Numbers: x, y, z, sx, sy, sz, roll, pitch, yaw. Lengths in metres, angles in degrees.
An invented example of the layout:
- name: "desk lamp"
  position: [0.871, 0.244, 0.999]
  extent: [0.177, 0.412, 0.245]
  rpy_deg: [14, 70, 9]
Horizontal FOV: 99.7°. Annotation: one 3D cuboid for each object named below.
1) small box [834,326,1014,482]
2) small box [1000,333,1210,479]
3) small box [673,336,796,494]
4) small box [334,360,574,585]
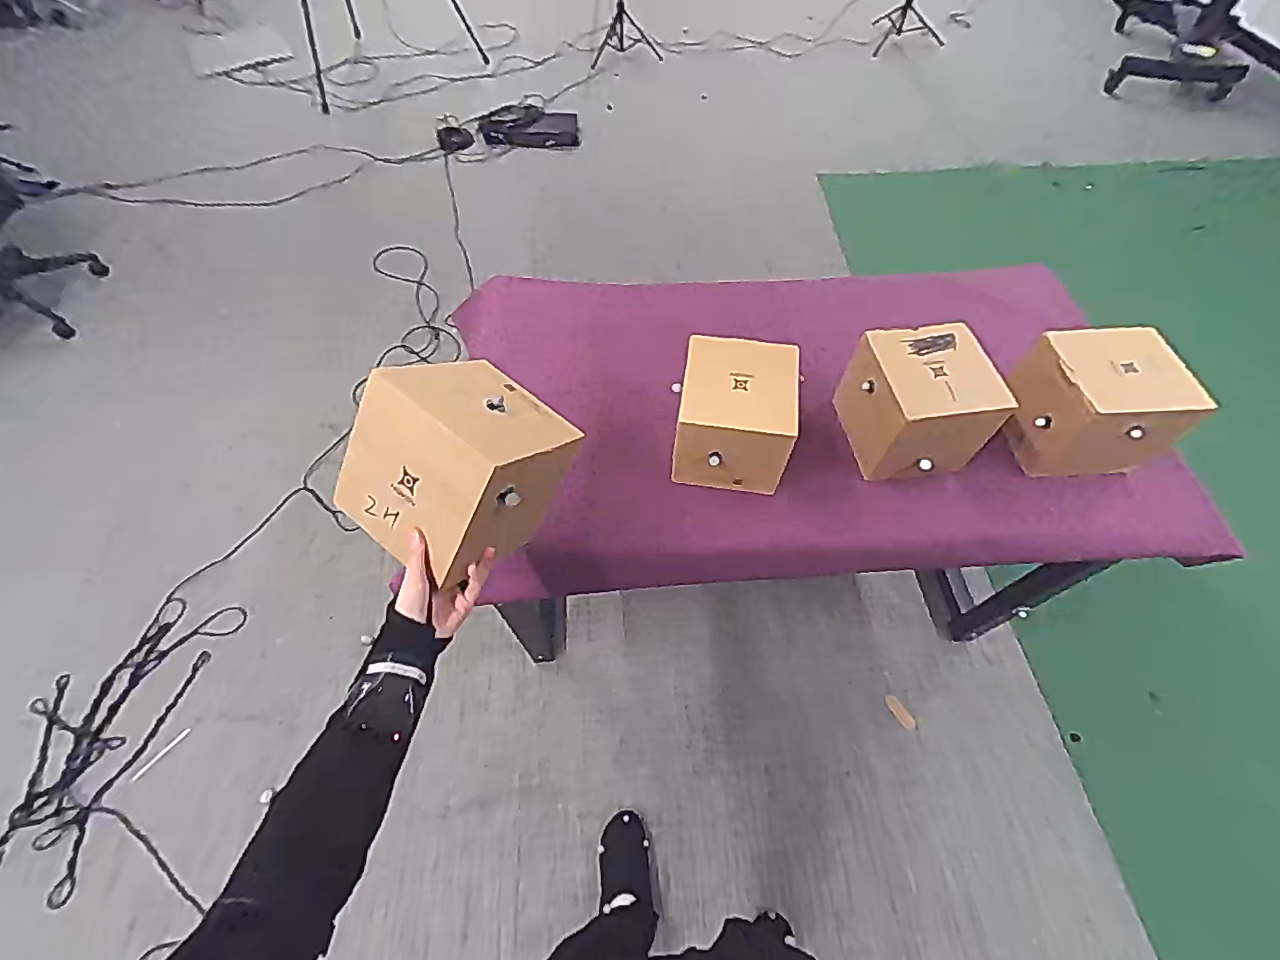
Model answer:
- name: "small box"
  position: [0.432, -0.118, 0.861]
  extent: [0.168, 0.176, 0.179]
  rpy_deg: [-6, 59, -4]
- name: "small box"
  position: [0.704, -0.112, 0.858]
  extent: [0.179, 0.176, 0.168]
  rpy_deg: [-2, 57, -1]
- name: "small box"
  position: [0.143, -0.097, 0.847]
  extent: [0.168, 0.176, 0.179]
  rpy_deg: [7, 57, 5]
- name: "small box"
  position: [-0.200, -0.022, 0.614]
  extent: [0.168, 0.179, 0.176]
  rpy_deg: [37, 25, 12]
